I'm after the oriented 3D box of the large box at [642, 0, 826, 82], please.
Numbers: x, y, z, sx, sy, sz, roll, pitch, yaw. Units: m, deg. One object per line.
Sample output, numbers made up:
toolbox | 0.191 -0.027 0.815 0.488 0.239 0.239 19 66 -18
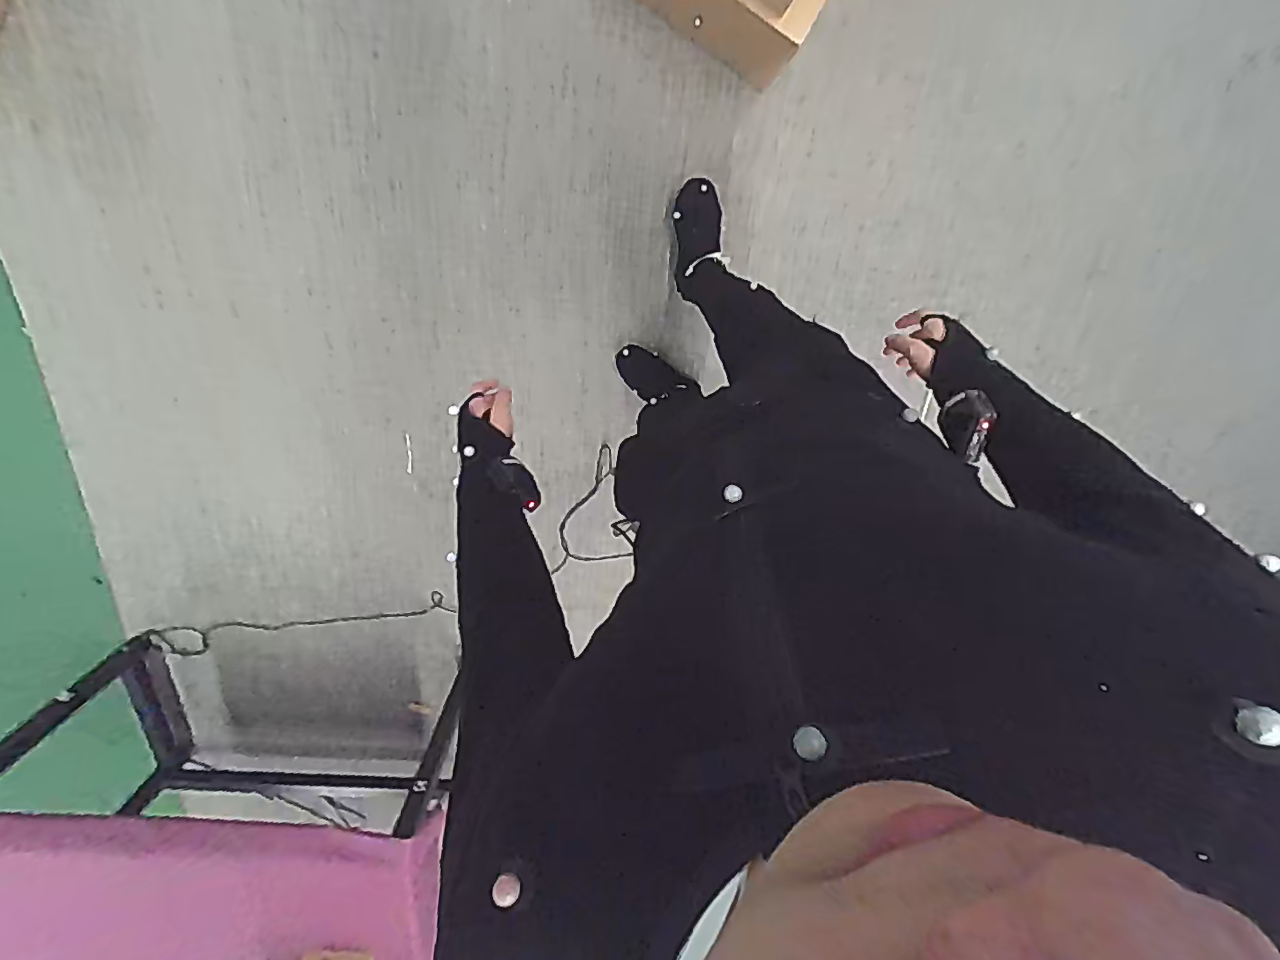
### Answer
large box | 0.201 -1.082 1.054 0.408 0.320 0.320 27 109 -11
